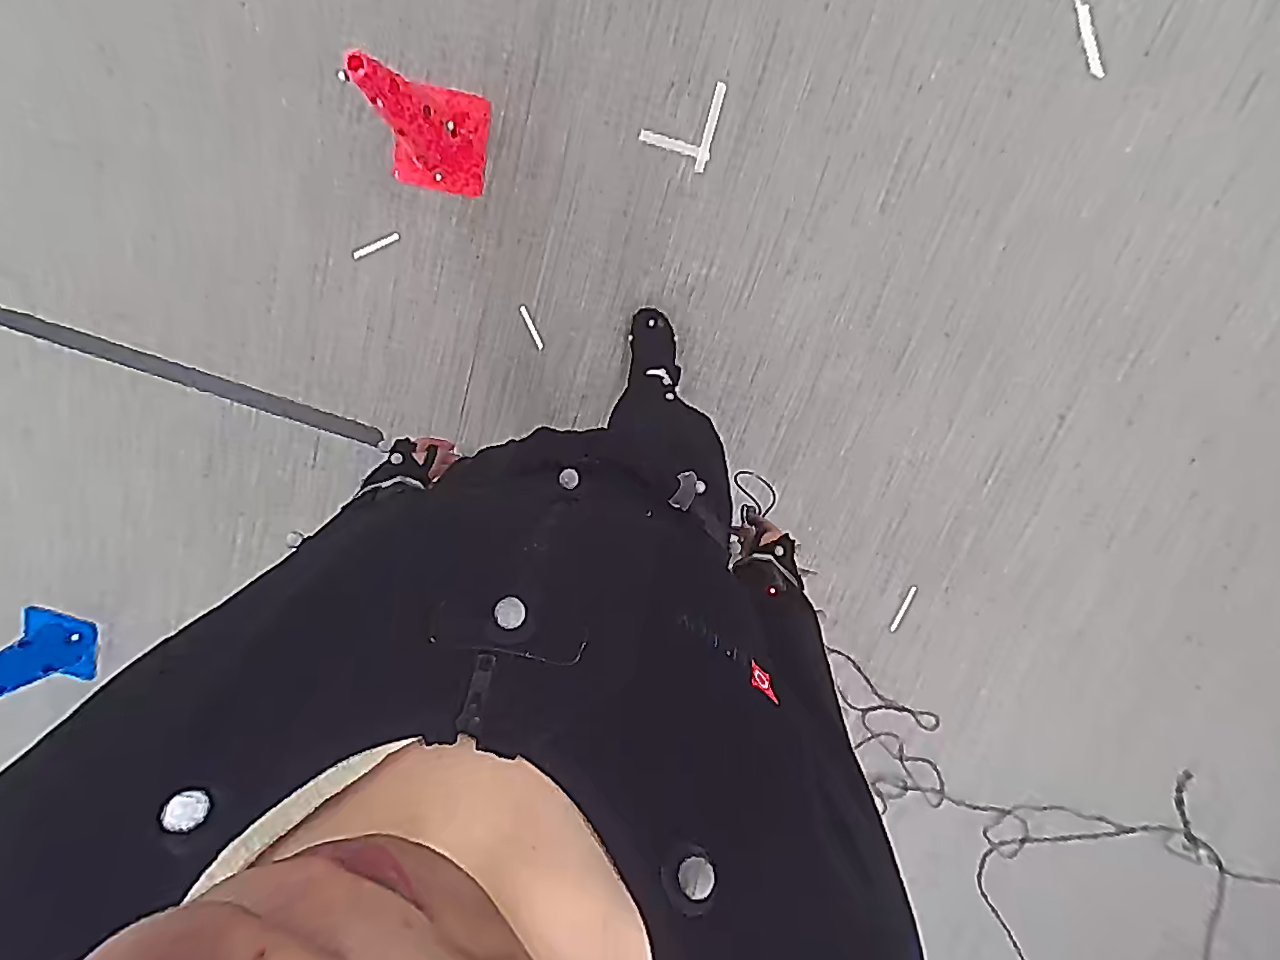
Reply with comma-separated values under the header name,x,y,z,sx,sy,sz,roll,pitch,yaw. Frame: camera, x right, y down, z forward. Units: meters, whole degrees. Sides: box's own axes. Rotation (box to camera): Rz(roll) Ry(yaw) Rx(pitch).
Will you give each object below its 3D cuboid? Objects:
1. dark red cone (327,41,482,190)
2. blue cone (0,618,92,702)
name,x,y,z,sx,sy,sz,roll,pitch,yaw
dark red cone,-0.443,-0.687,0.985,0.202,0.394,0.201,10,106,-1
blue cone,-1.654,0.530,1.374,0.193,0.380,0.192,18,106,-4
